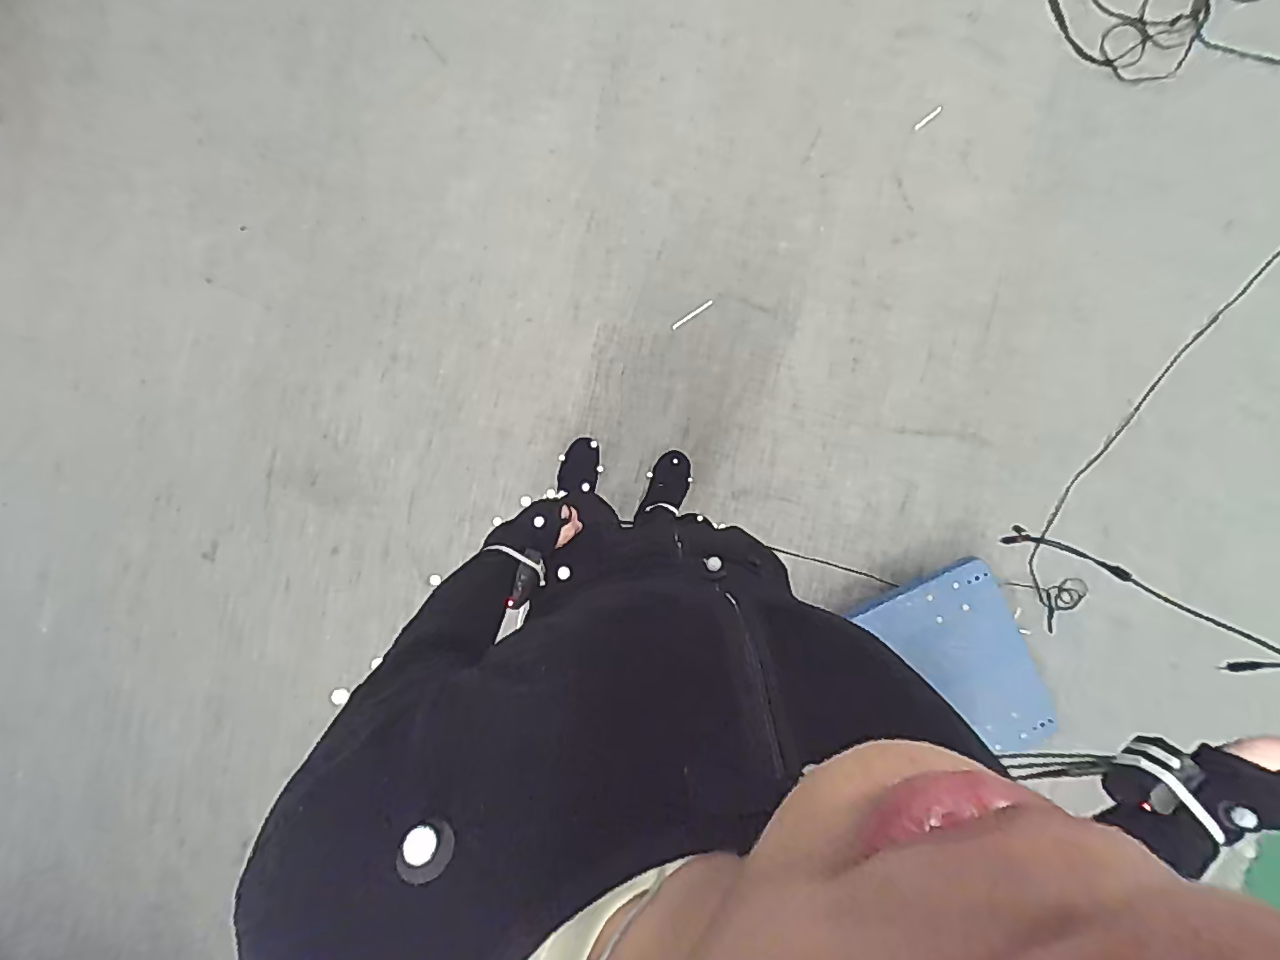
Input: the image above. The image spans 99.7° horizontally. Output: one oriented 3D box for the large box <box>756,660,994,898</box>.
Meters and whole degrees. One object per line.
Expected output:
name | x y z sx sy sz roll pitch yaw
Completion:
large box | 0.568 0.730 1.378 0.408 0.320 0.320 -26 95 0
